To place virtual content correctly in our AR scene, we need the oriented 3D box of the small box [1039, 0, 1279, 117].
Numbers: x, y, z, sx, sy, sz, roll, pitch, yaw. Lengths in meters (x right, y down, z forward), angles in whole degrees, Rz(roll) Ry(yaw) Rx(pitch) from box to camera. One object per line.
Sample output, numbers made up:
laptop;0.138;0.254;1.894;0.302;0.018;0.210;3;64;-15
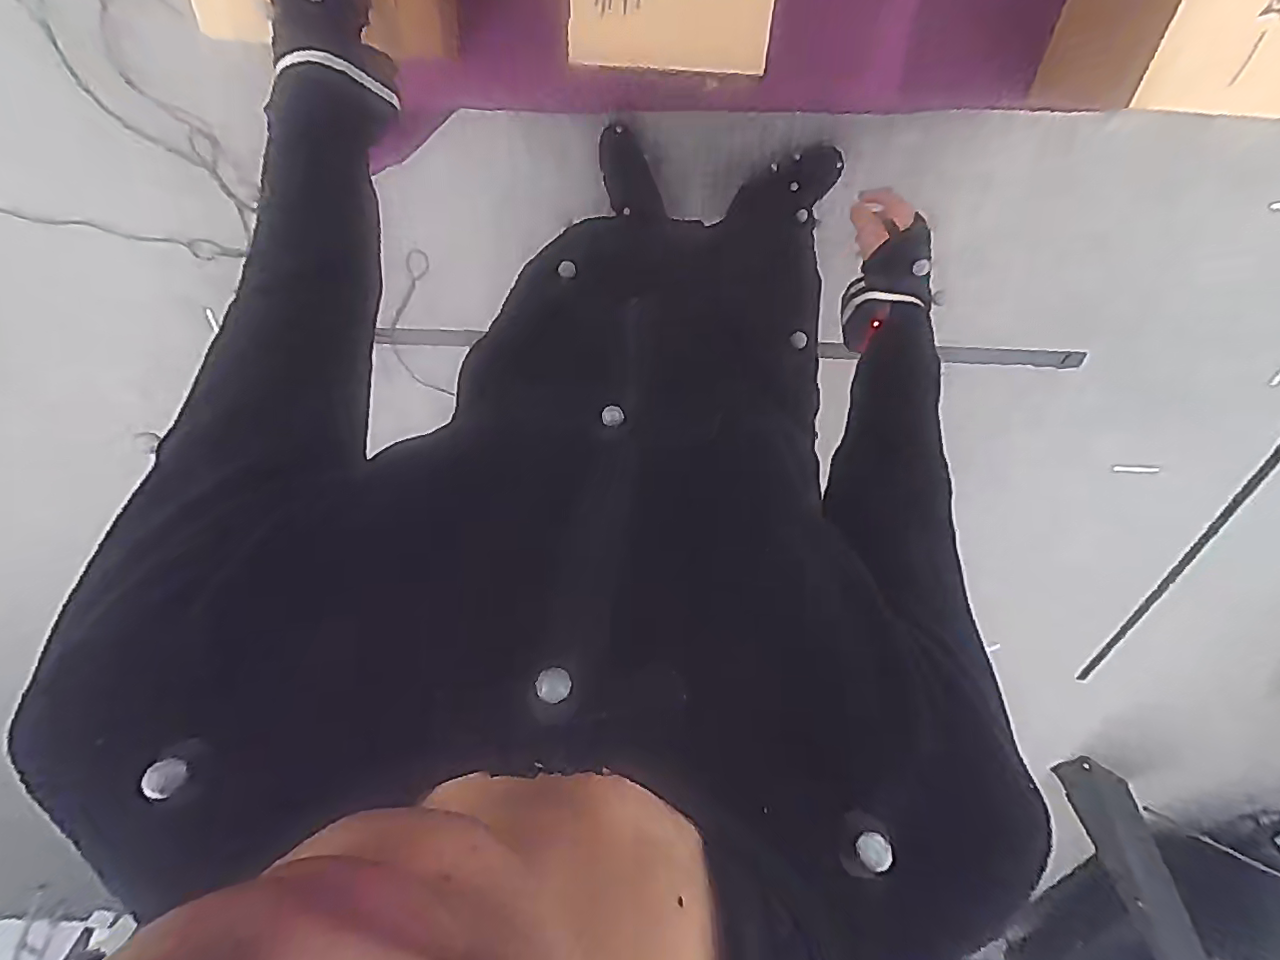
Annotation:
small box;0.523;-0.449;0.499;0.168;0.176;0.179;3;127;-1
